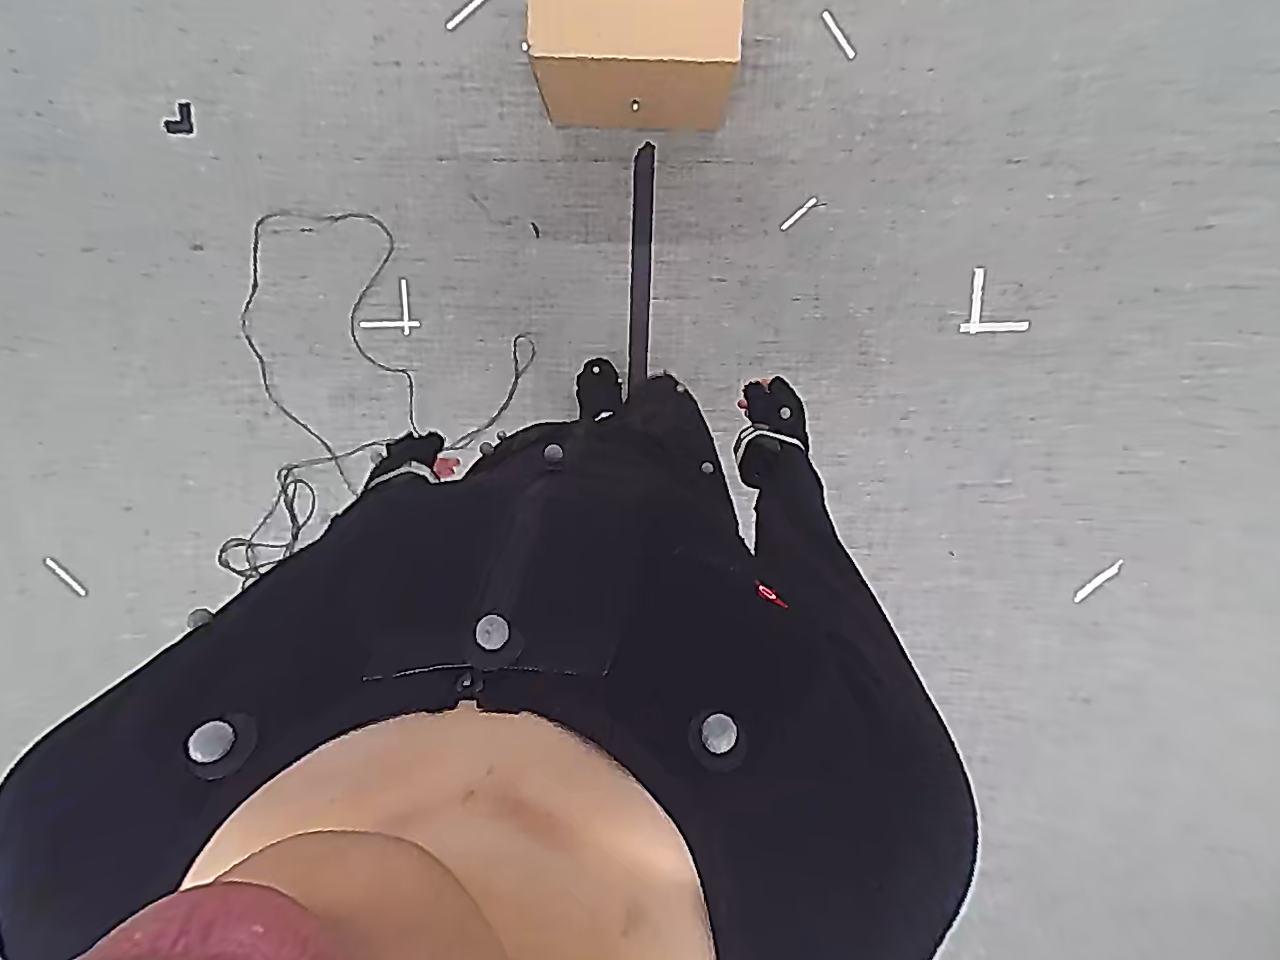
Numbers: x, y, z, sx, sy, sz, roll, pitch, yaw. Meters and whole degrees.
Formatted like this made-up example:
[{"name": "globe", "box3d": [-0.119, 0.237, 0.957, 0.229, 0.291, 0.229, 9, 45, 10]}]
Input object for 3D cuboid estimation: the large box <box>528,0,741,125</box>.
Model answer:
[{"name": "large box", "box3d": [-0.006, -0.979, 1.136, 0.408, 0.320, 0.320, 1, 101, 0]}]
